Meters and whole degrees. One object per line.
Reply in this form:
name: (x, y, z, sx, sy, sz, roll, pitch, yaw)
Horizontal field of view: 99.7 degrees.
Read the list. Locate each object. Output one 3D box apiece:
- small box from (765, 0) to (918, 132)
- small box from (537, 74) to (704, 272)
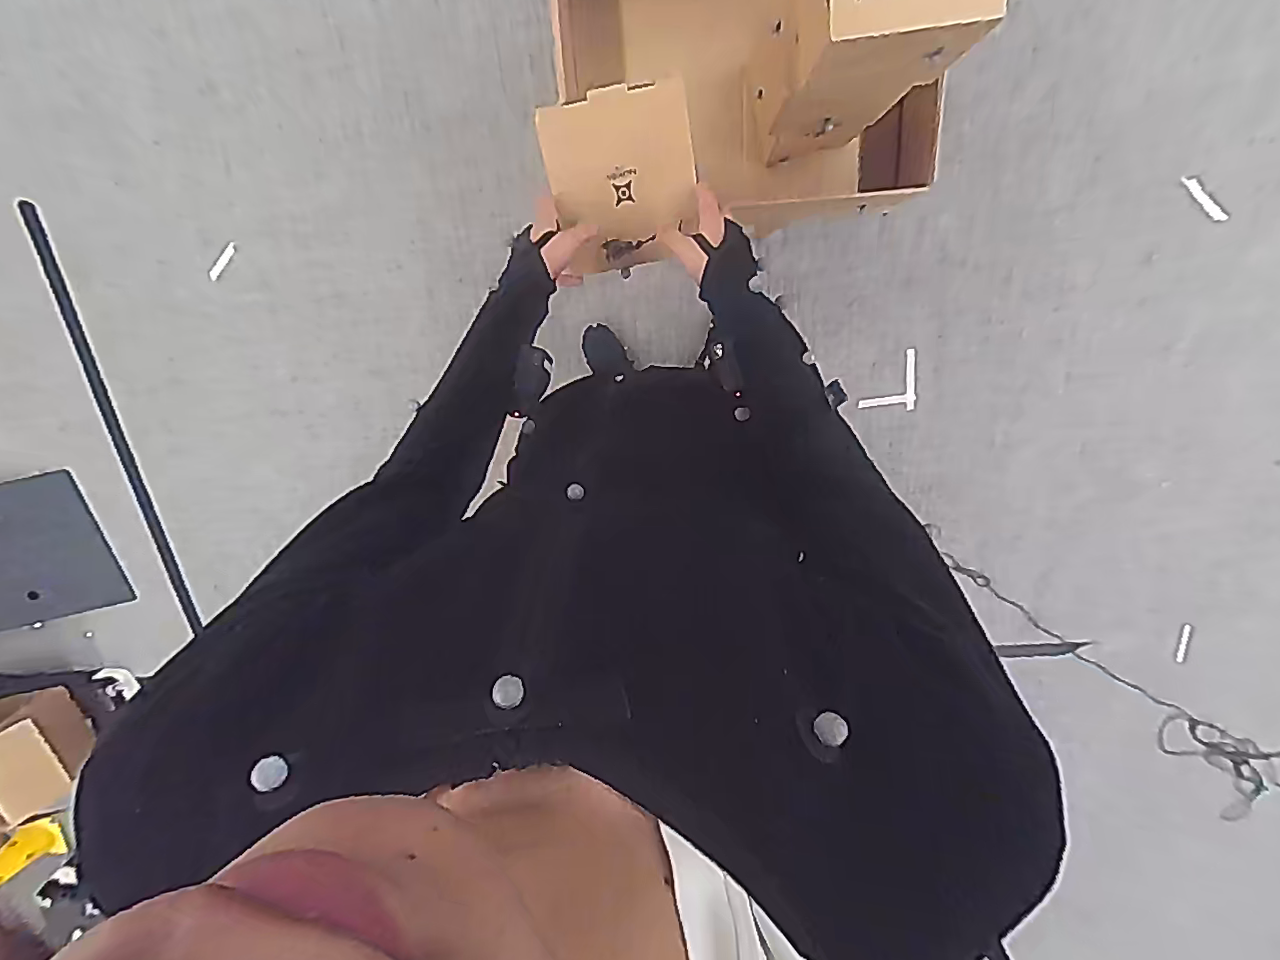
small box: (0.269, -0.615, 0.751, 0.168, 0.176, 0.179, -3, 109, 6)
small box: (-0.015, -0.372, 0.680, 0.168, 0.176, 0.179, -8, 116, 8)
